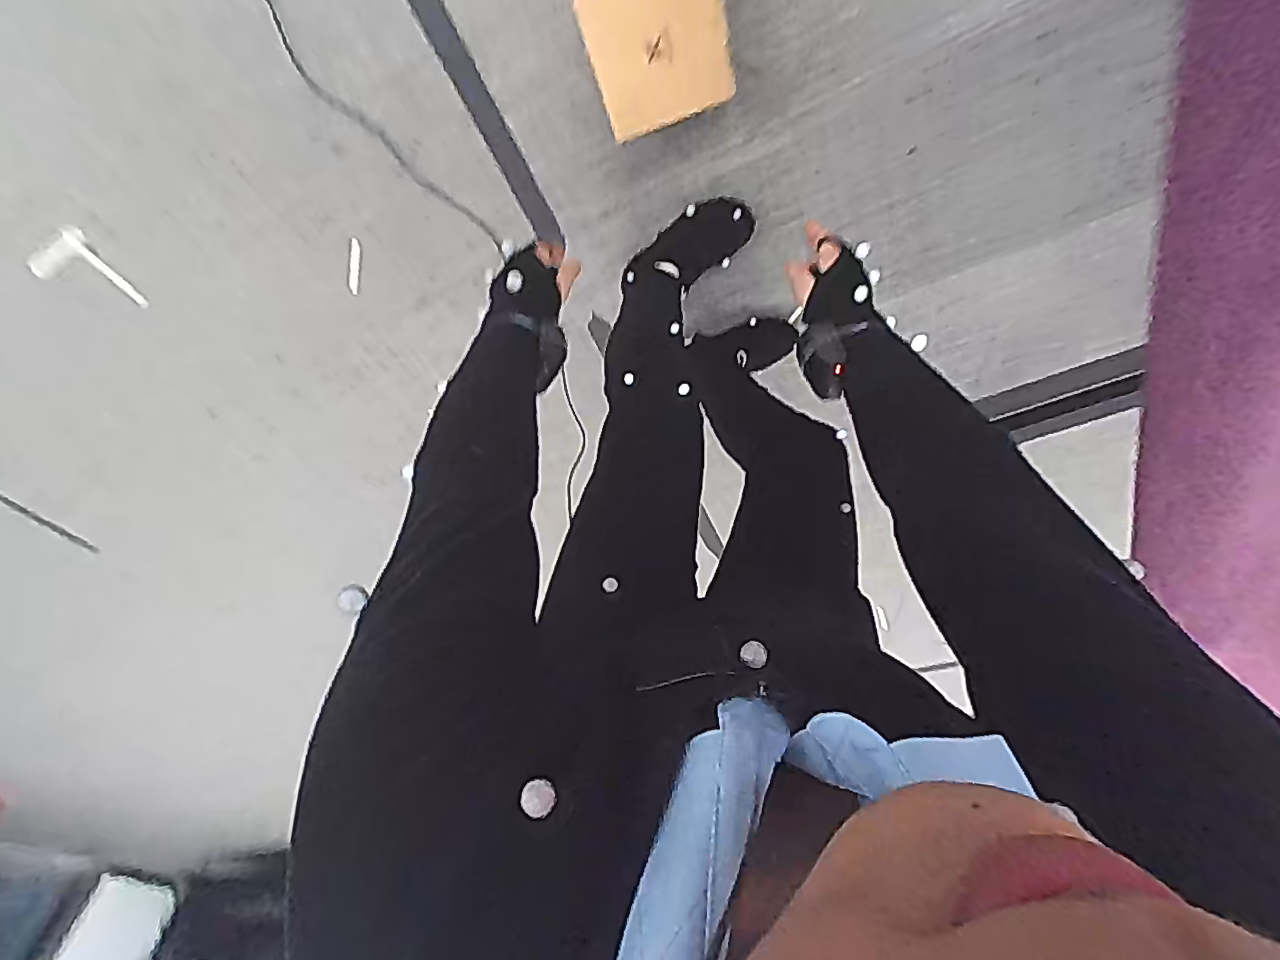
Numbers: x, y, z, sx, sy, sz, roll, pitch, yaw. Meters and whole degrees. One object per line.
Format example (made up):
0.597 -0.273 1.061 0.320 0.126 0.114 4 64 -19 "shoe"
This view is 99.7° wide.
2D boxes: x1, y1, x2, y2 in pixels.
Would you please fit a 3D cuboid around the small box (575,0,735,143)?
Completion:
0.027 -0.613 0.766 0.179 0.176 0.168 -14 132 14 "small box"
